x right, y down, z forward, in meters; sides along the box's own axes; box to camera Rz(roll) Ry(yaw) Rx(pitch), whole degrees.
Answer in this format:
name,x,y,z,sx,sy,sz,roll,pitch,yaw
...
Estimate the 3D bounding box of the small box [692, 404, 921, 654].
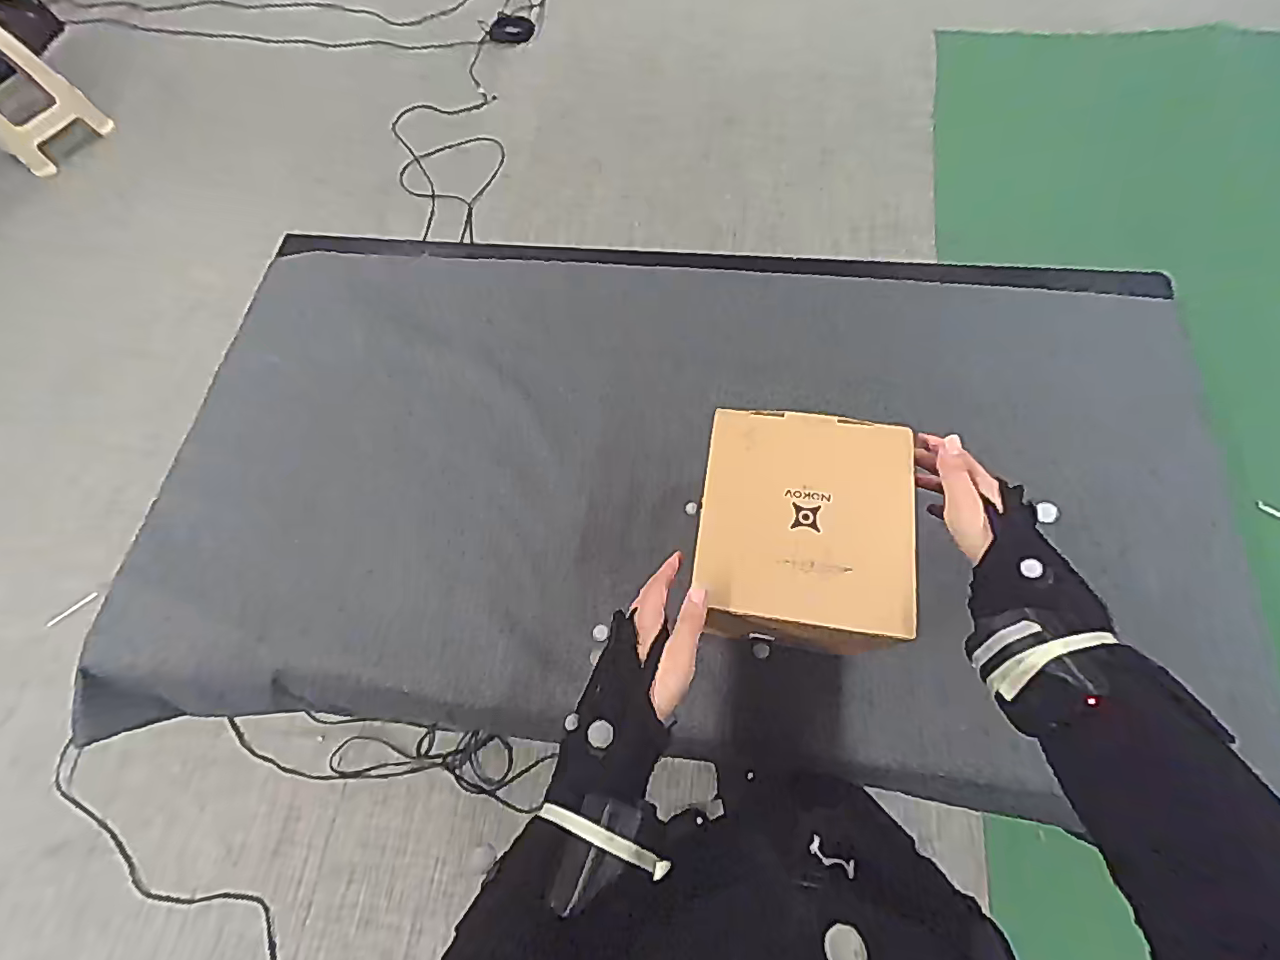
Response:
name,x,y,z,sx,sy,sz,roll,pitch,yaw
small box,0.140,0.053,0.495,0.168,0.176,0.179,6,69,9
